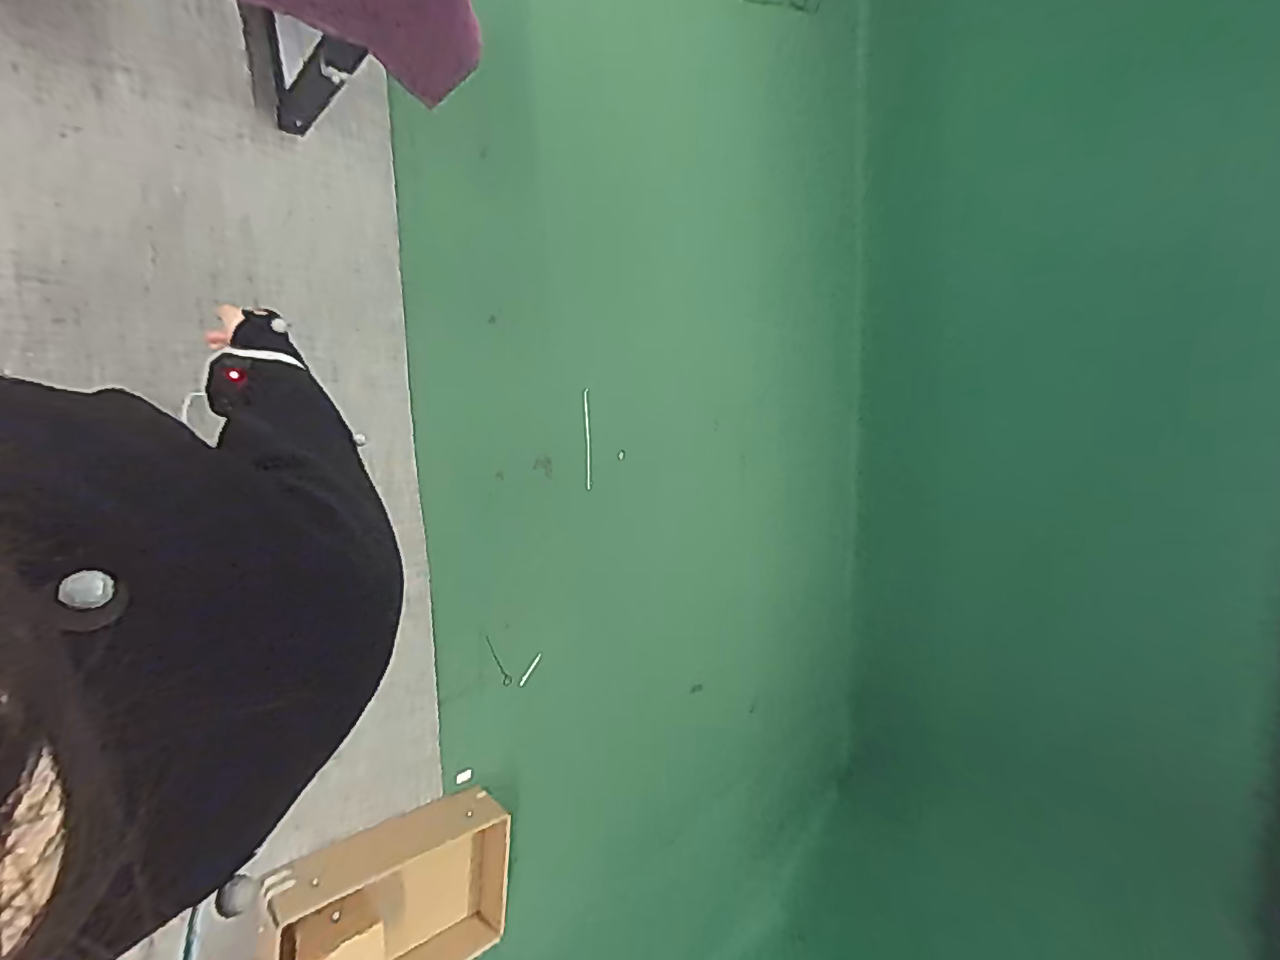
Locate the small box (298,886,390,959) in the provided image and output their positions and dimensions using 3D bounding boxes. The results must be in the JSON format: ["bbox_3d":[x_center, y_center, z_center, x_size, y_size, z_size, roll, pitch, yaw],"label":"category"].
[{"bbox_3d":[-0.748,1.179,1.365,0.168,0.176,0.179,-3,95,-46],"label":"small box"}]
